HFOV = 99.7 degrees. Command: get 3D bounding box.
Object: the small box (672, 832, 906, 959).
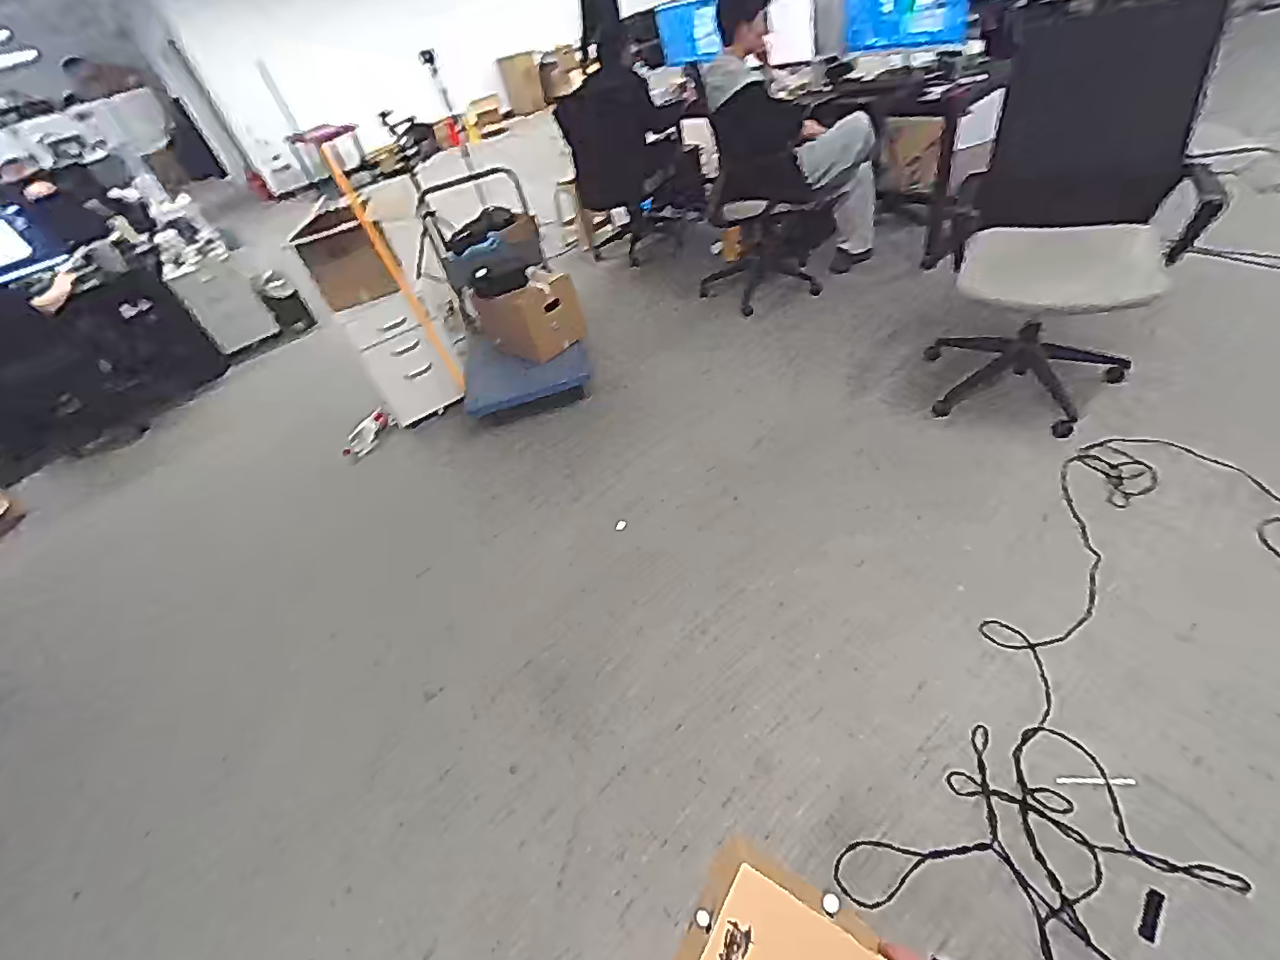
[{"bbox_3d":[0.142,0.490,0.543,0.179,0.176,0.168,27,70,16],"label":"small box"}]
